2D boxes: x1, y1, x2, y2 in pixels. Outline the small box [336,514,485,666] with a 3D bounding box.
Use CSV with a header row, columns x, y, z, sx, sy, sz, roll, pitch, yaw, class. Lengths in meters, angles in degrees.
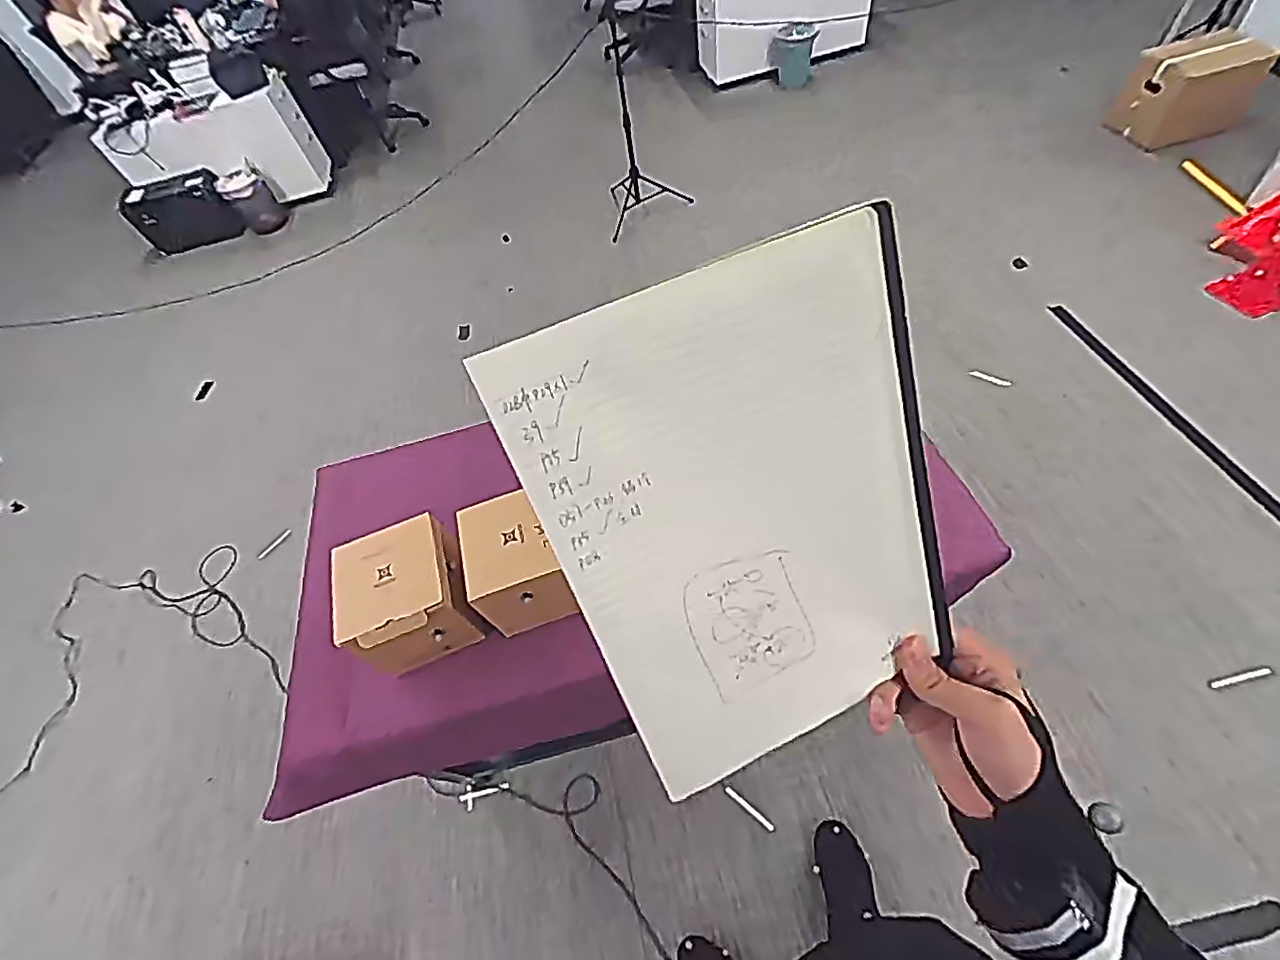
x,y,z,sx,sy,sz,roll,pitch,yaw,class
-0.375,0.192,0.899,0.168,0.176,0.179,-22,55,-5,small box
